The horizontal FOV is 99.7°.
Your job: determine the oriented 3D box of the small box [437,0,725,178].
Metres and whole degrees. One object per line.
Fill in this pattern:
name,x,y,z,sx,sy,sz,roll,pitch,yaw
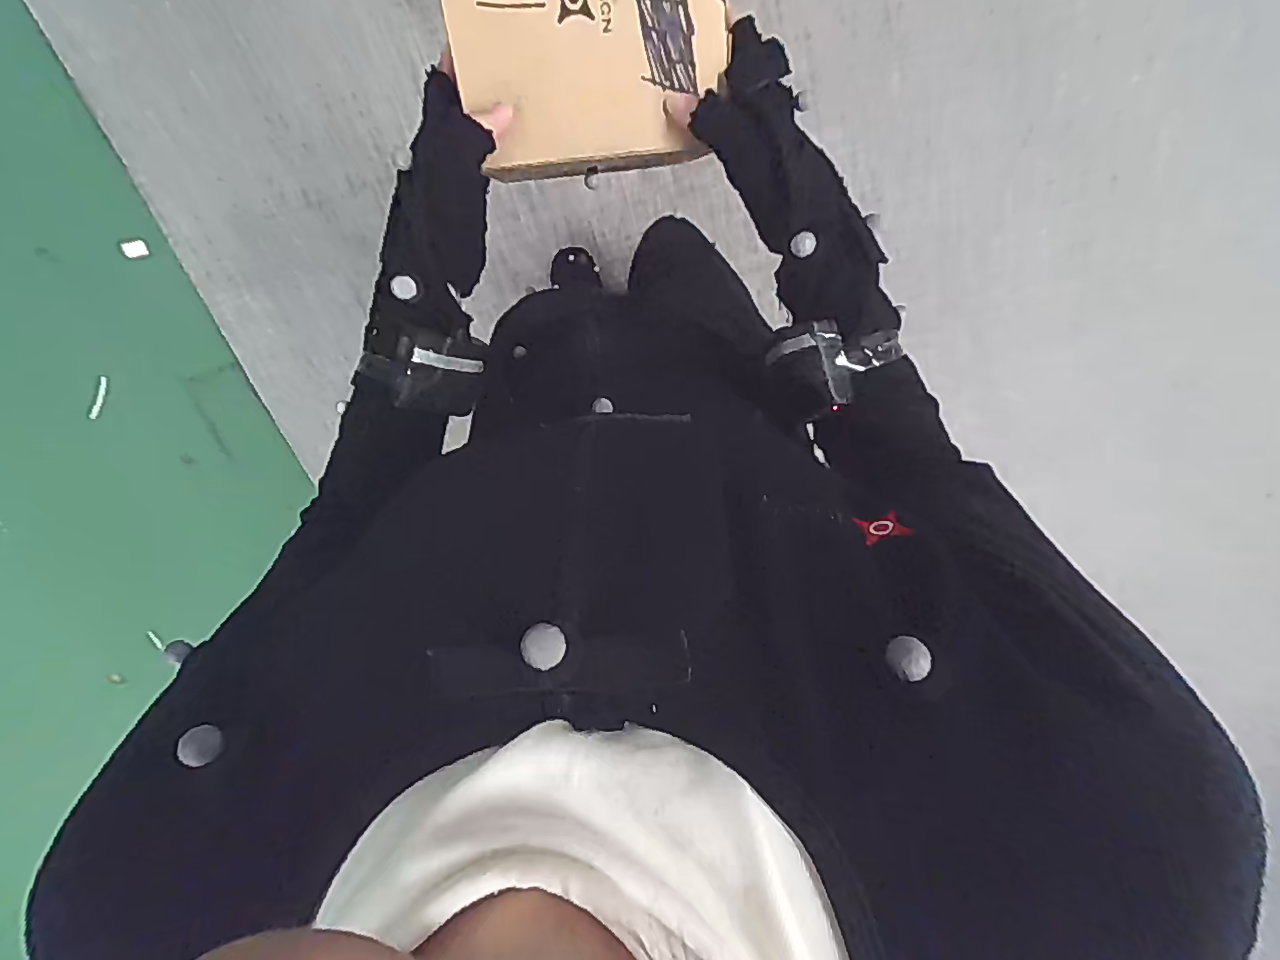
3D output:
small box,-0.043,-0.328,0.399,0.179,0.176,0.168,-8,116,-2
